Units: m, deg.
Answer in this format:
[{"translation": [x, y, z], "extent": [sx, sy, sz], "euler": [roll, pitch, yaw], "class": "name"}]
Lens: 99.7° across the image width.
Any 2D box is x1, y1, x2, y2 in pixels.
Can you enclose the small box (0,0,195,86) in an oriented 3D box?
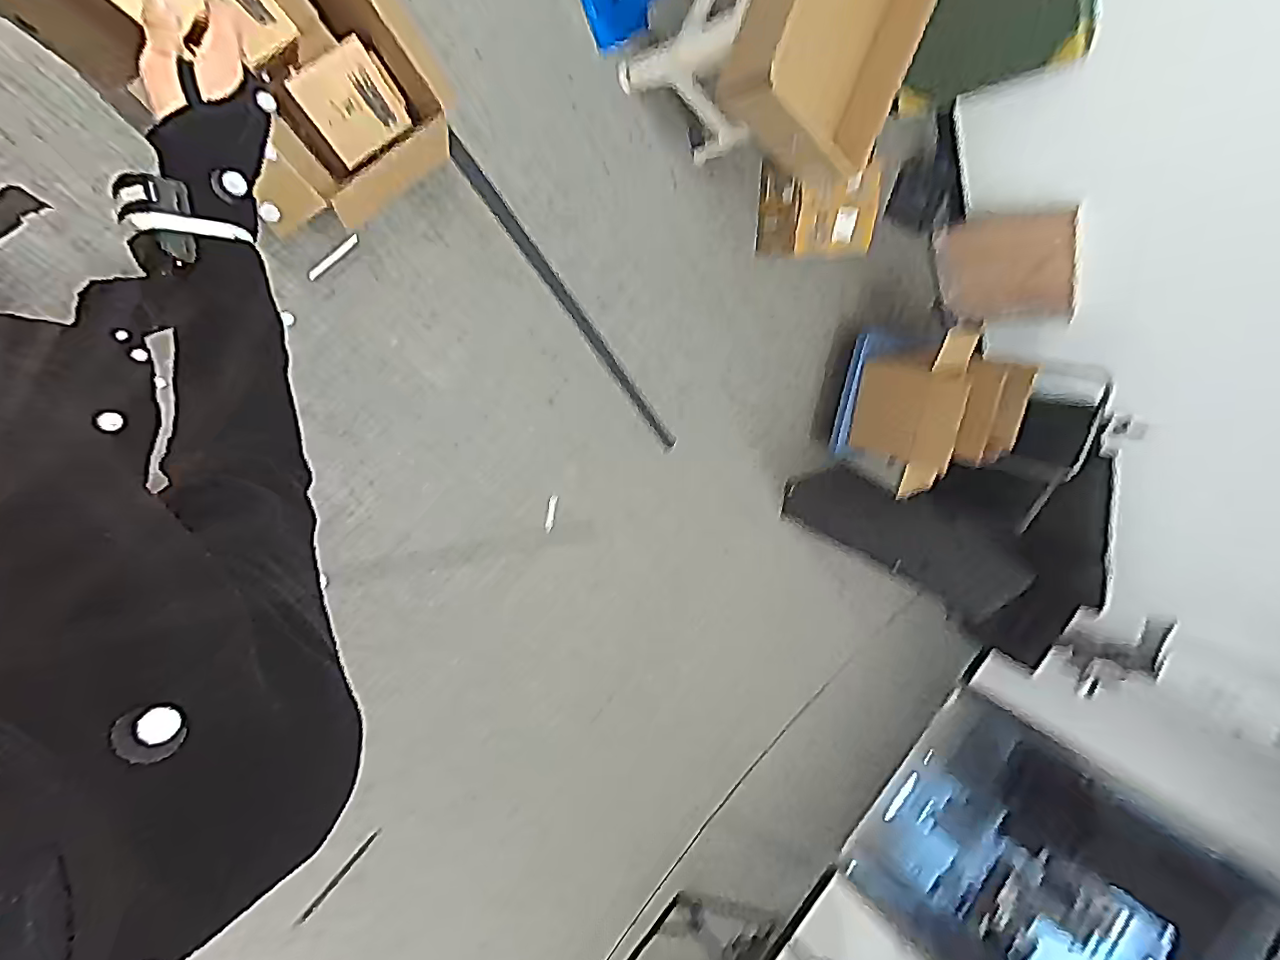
[{"translation": [-0.441, -0.446, 0.406], "extent": [0.168, 0.176, 0.179], "euler": [31, 74, -56], "class": "small box"}]
